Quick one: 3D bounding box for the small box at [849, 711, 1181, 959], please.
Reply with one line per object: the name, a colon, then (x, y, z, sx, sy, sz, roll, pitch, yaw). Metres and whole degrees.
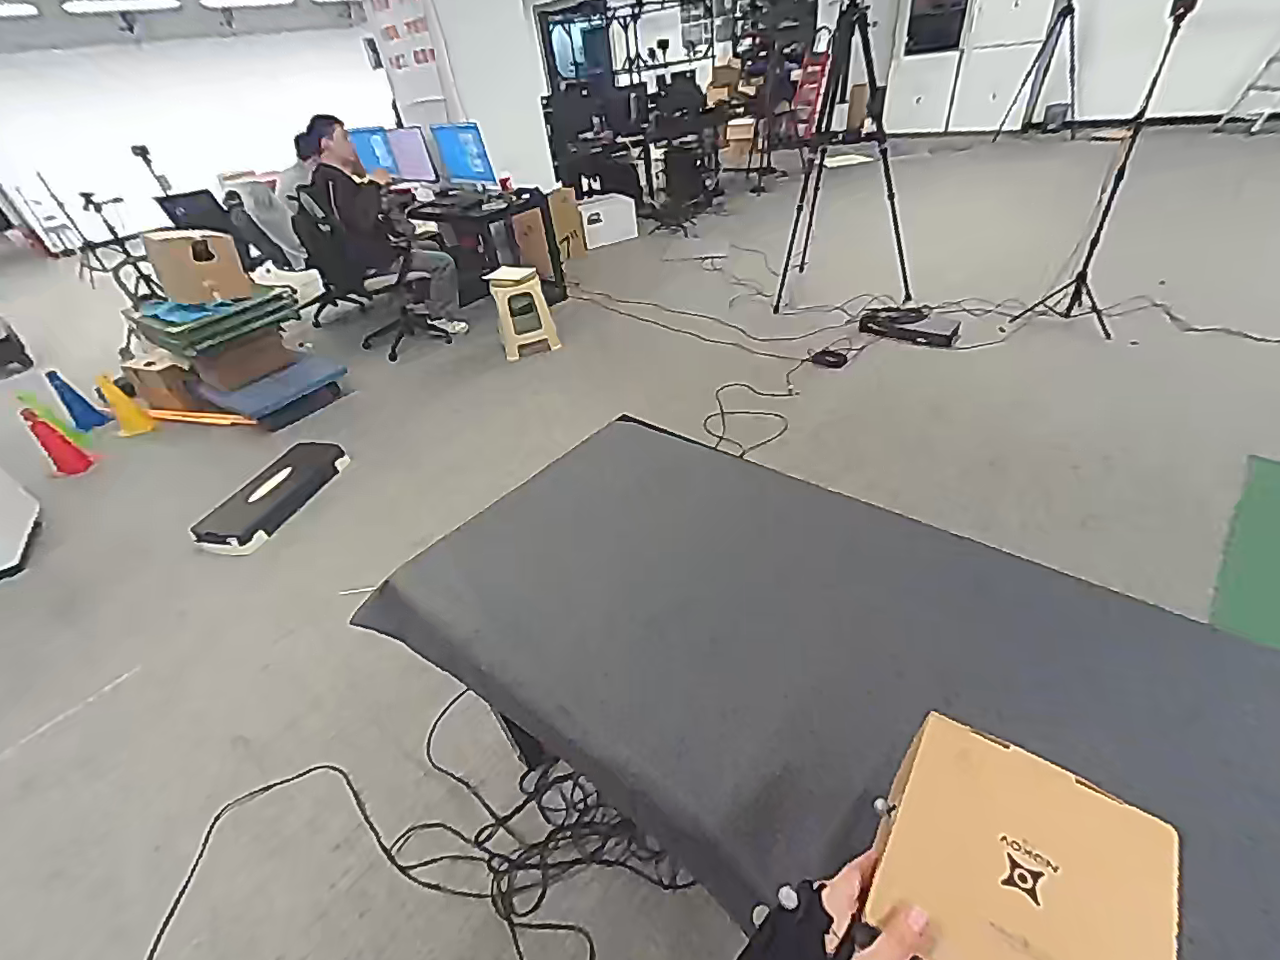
small box: (0.280, 0.332, 0.430, 0.168, 0.176, 0.179, 20, 50, 30)
